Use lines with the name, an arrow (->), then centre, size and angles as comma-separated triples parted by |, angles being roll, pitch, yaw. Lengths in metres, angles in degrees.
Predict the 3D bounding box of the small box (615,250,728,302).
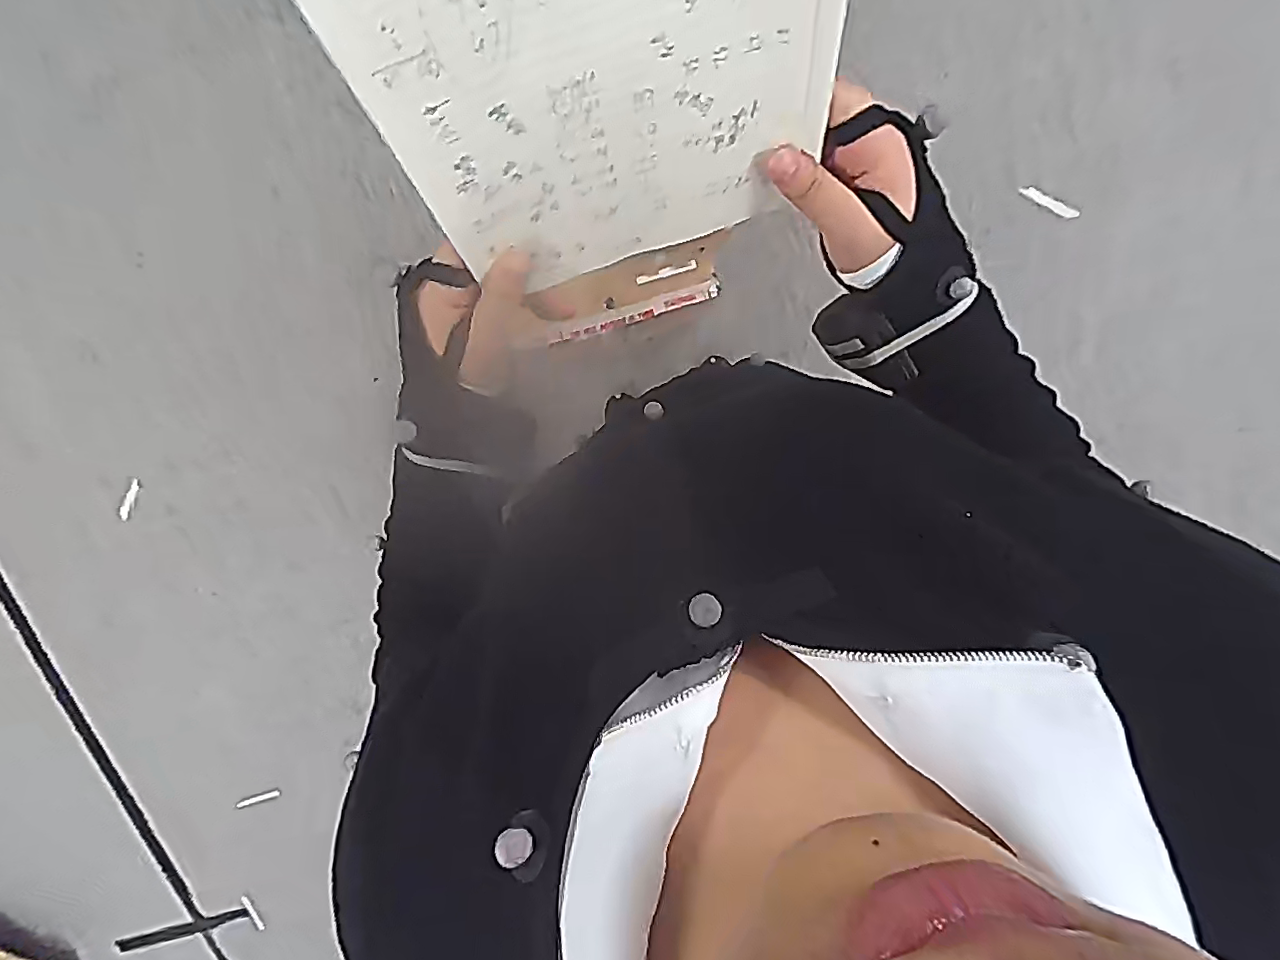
small box -> 0.024, -0.396, 0.859 | 0.179, 0.176, 0.168 | -16, 101, 3

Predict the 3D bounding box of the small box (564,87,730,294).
small box -> 0.007, -0.356, 0.699 | 0.168, 0.176, 0.179 | -13, 102, 2
